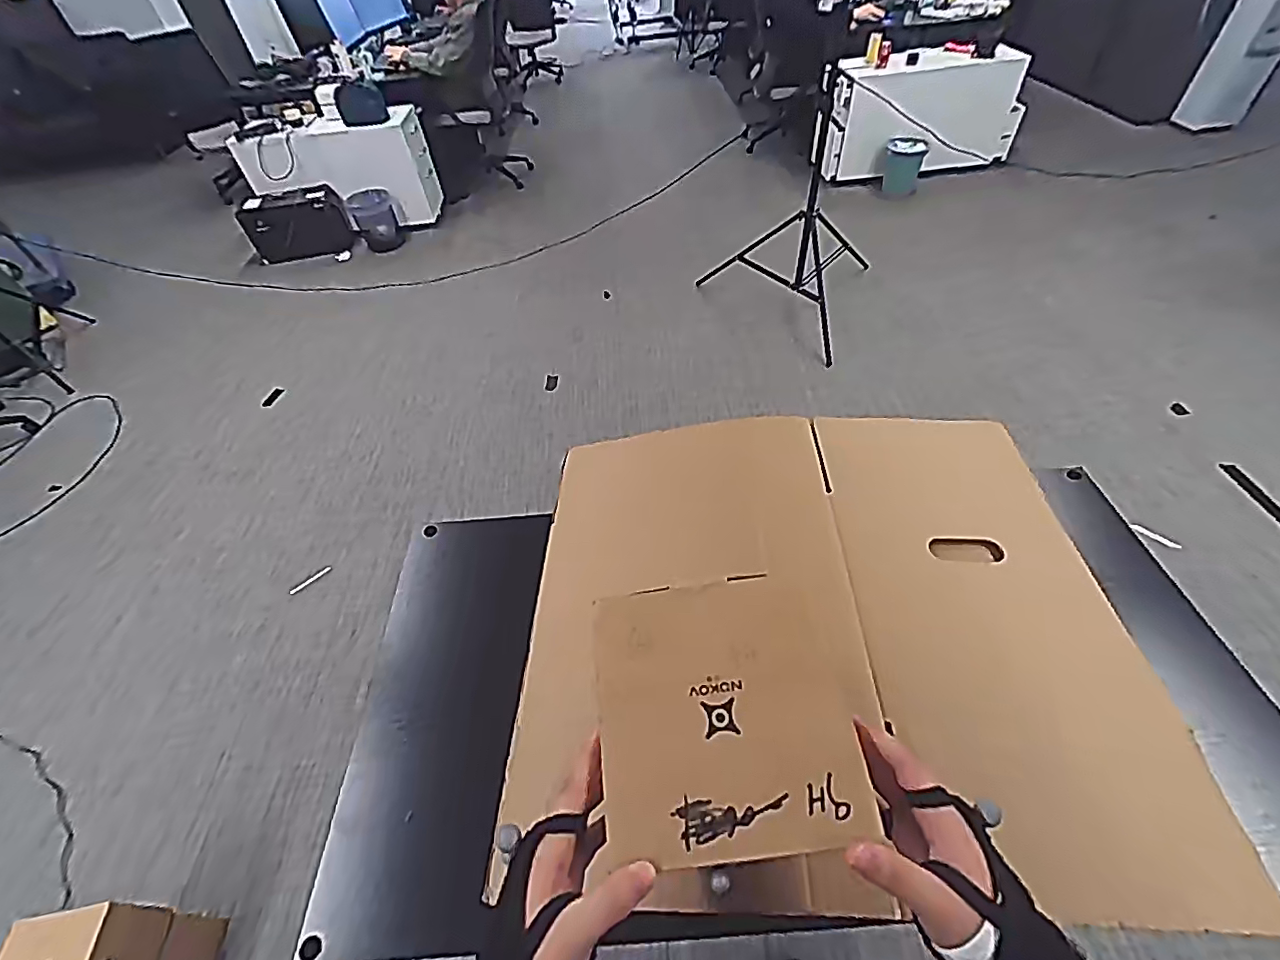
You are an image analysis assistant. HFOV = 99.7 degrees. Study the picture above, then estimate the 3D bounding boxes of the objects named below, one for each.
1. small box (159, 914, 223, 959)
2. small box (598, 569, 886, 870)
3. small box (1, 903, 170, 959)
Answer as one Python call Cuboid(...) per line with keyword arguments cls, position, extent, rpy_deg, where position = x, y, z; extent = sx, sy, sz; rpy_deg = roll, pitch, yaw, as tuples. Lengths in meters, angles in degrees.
Cuboid(cls="small box", position=(-1.000, 1.007, 1.096), extent=(0.168, 0.176, 0.179), rpy_deg=(-8, 49, -2))
Cuboid(cls="small box", position=(0.065, 0.193, 0.429), extent=(0.168, 0.176, 0.179), rpy_deg=(-10, 56, 3))
Cuboid(cls="small box", position=(-1.014, 0.895, 0.978), extent=(0.168, 0.176, 0.179), rpy_deg=(-10, 47, -4))
